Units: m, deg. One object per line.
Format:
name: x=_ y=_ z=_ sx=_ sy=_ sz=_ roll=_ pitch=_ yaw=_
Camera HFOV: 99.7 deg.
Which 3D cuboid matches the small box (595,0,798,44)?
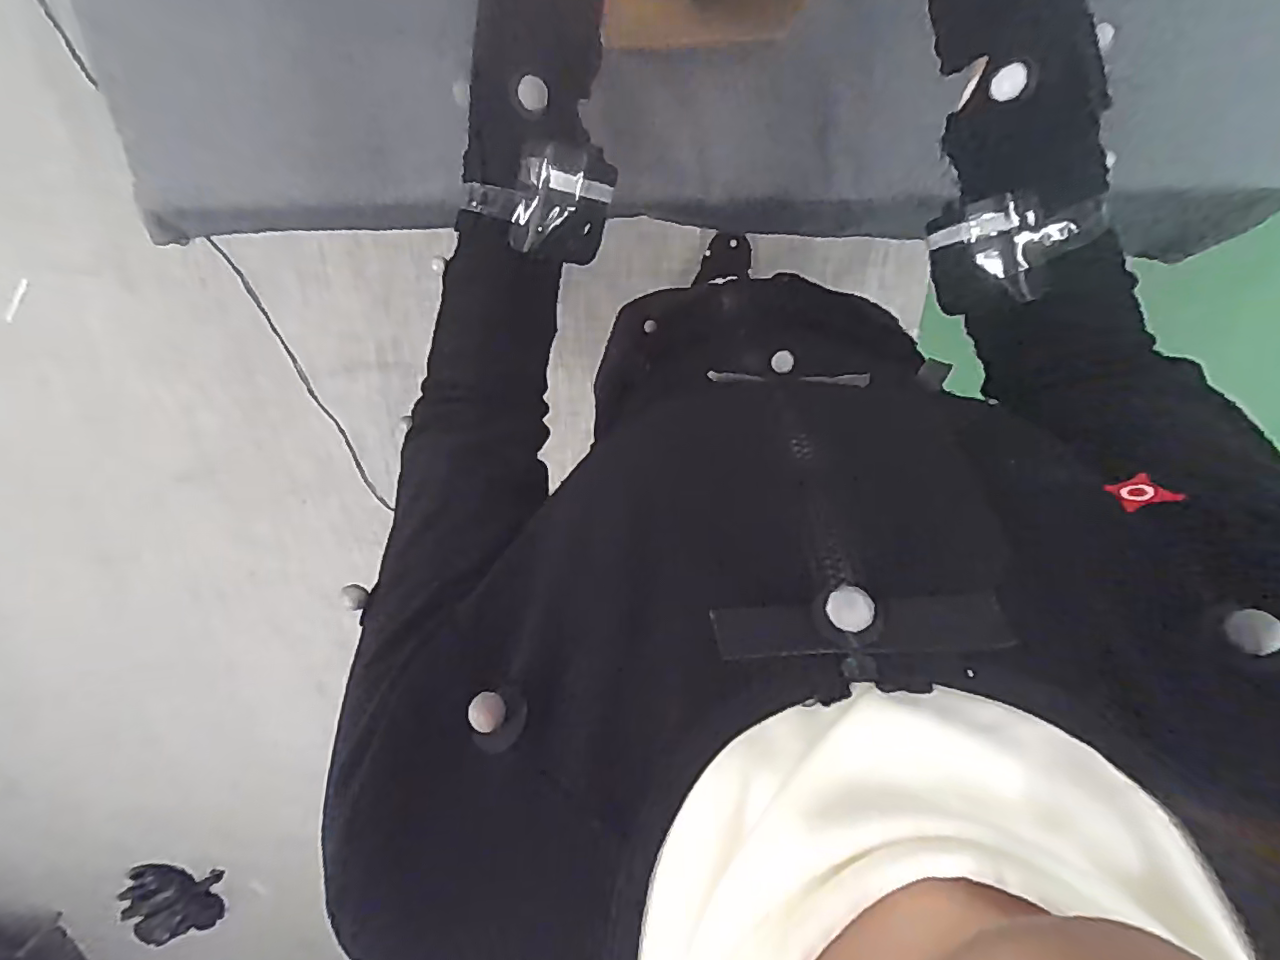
small box: x=0.046 y=-0.457 z=0.410 sx=0.179 sy=0.176 sz=0.168 roll=-1 pitch=115 yaw=1
